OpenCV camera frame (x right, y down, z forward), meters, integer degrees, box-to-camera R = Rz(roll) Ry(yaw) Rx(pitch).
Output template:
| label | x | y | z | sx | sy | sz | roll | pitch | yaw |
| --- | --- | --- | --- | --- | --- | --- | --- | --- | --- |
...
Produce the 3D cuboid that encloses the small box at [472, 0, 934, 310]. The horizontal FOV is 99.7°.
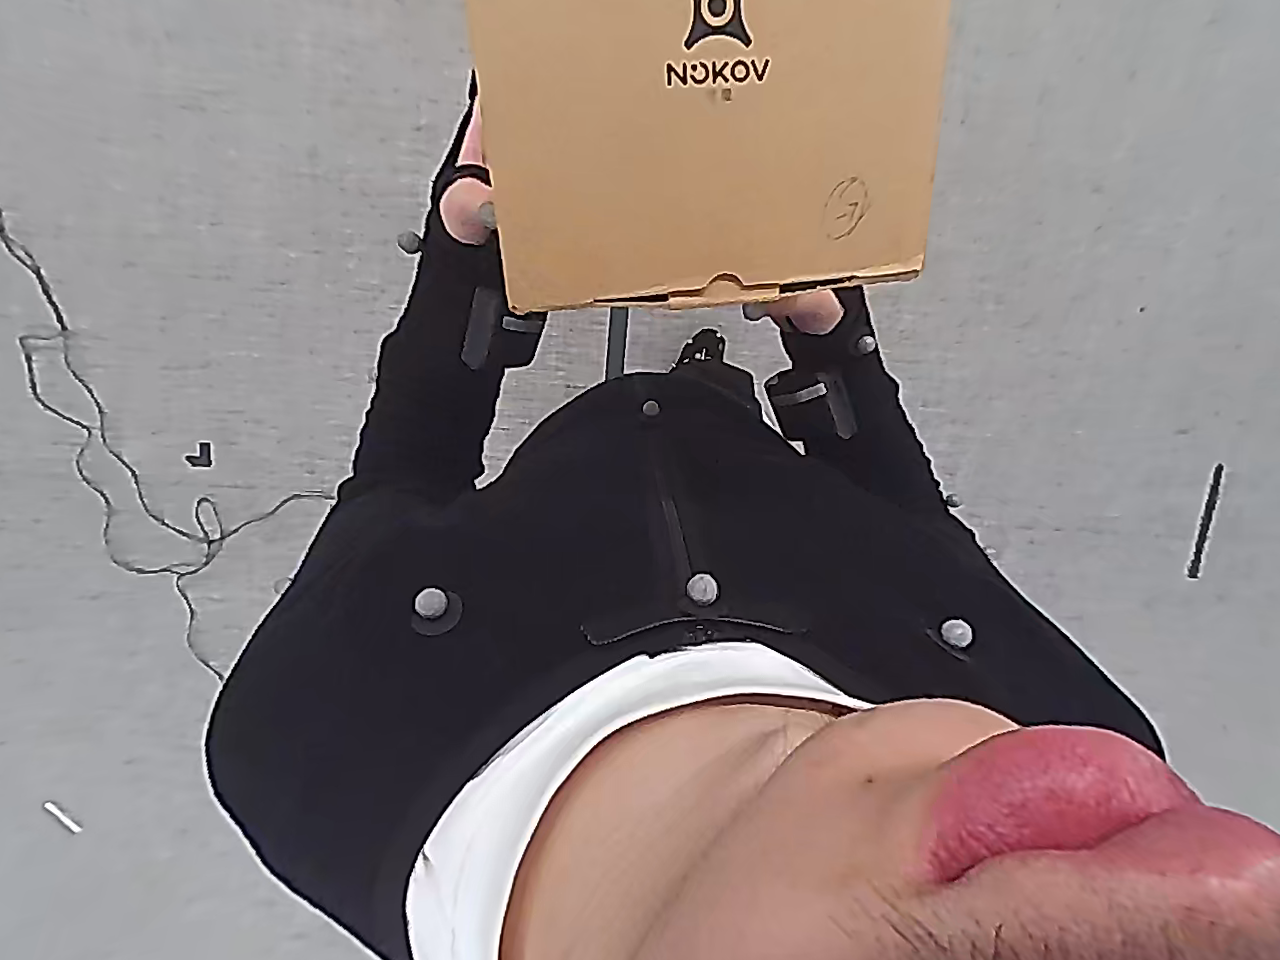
| label | x | y | z | sx | sy | sz | roll | pitch | yaw |
| --- | --- | --- | --- | --- | --- | --- | --- | --- | --- |
| small box | 0.016 | -0.185 | 0.266 | 0.168 | 0.176 | 0.179 | -8 | 109 | -5 |
